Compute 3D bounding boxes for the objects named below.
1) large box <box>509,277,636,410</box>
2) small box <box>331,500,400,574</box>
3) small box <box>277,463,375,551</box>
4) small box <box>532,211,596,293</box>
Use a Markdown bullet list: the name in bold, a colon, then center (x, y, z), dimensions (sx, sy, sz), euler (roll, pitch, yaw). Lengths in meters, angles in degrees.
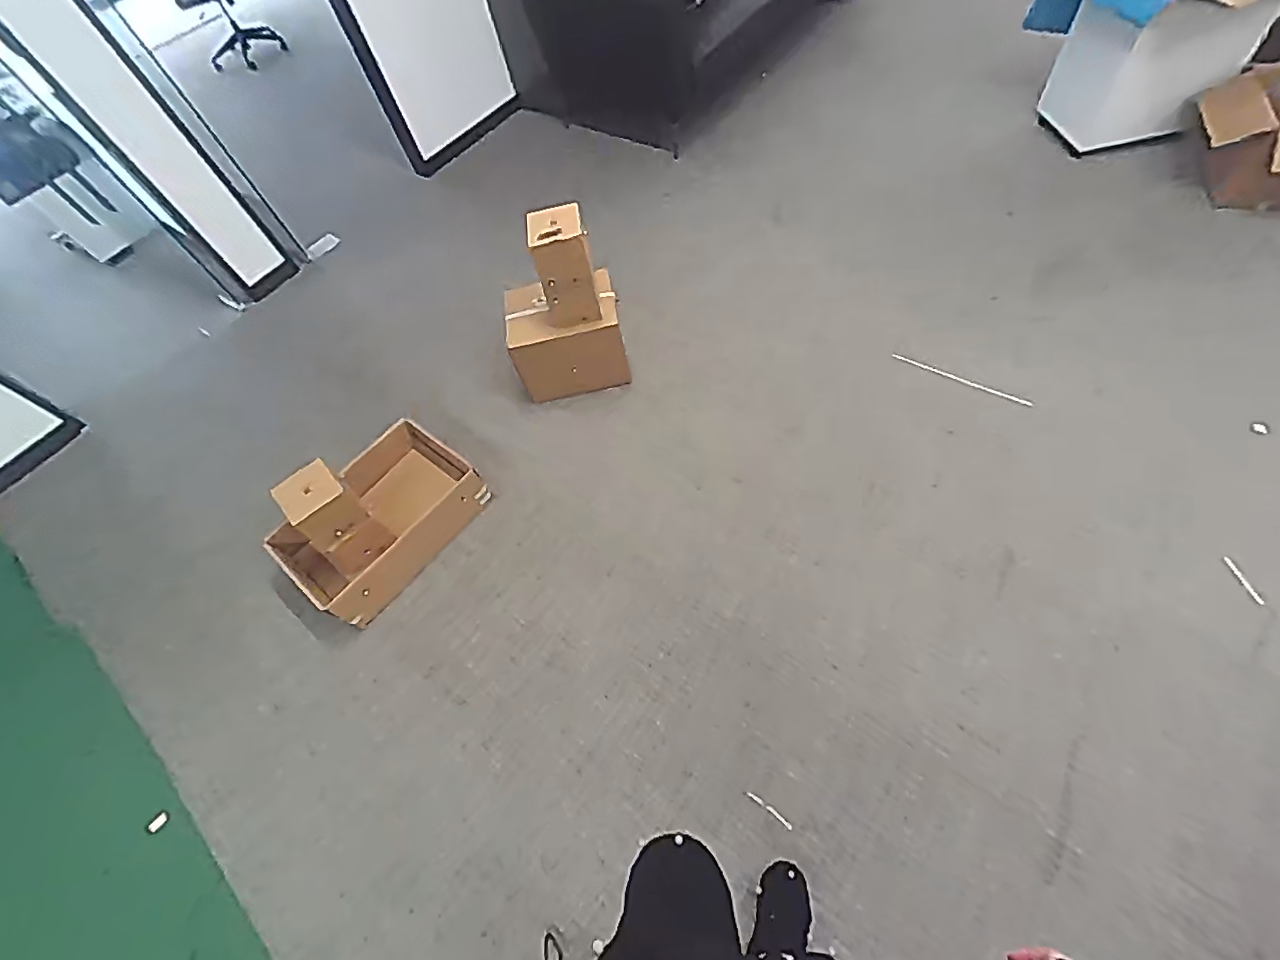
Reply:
- **large box**: center (-0.255, -0.520, 2.093), dimensions (0.408, 0.320, 0.320), euler (-13, 56, 3)
- **small box**: center (-0.939, 0.181, 1.797), dimensions (0.179, 0.176, 0.168), euler (37, 67, 26)
- **small box**: center (-0.961, 0.088, 1.665), dimensions (0.168, 0.176, 0.179), euler (-40, 61, -18)
- **small box**: center (-0.240, -0.718, 1.726), dimensions (0.168, 0.176, 0.179), euler (-11, 57, 3)
